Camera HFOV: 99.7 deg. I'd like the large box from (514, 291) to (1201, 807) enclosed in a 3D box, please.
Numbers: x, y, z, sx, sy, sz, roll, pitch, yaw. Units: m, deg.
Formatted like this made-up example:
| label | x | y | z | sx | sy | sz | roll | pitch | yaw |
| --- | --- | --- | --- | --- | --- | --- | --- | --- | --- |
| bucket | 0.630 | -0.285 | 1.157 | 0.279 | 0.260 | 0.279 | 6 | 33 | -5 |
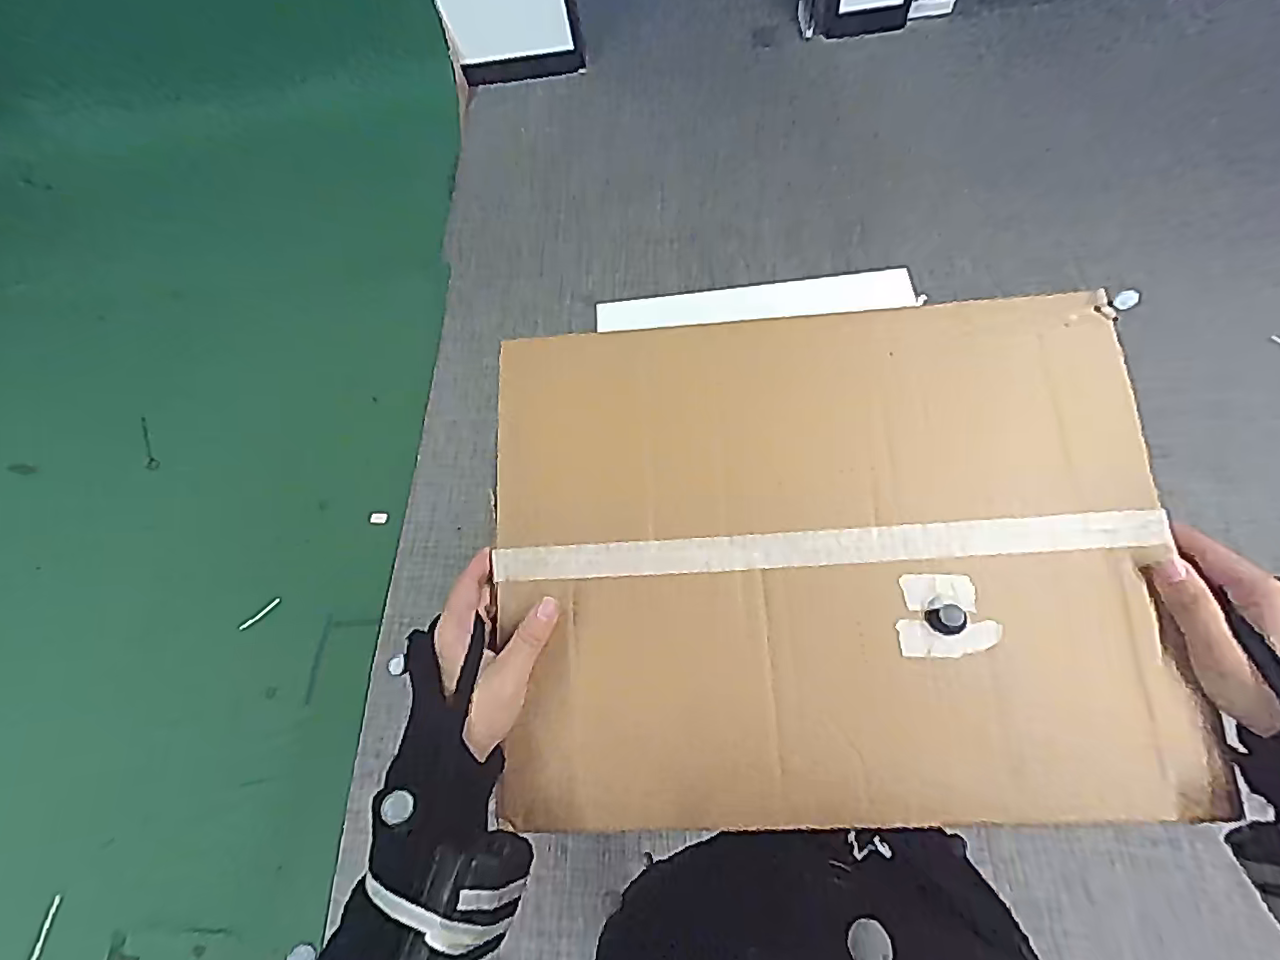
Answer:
| label | x | y | z | sx | sy | sz | roll | pitch | yaw |
| --- | --- | --- | --- | --- | --- | --- | --- | --- | --- |
| large box | 0.123 | 0.066 | 0.495 | 0.408 | 0.320 | 0.320 | -4 | 78 | 3 |
